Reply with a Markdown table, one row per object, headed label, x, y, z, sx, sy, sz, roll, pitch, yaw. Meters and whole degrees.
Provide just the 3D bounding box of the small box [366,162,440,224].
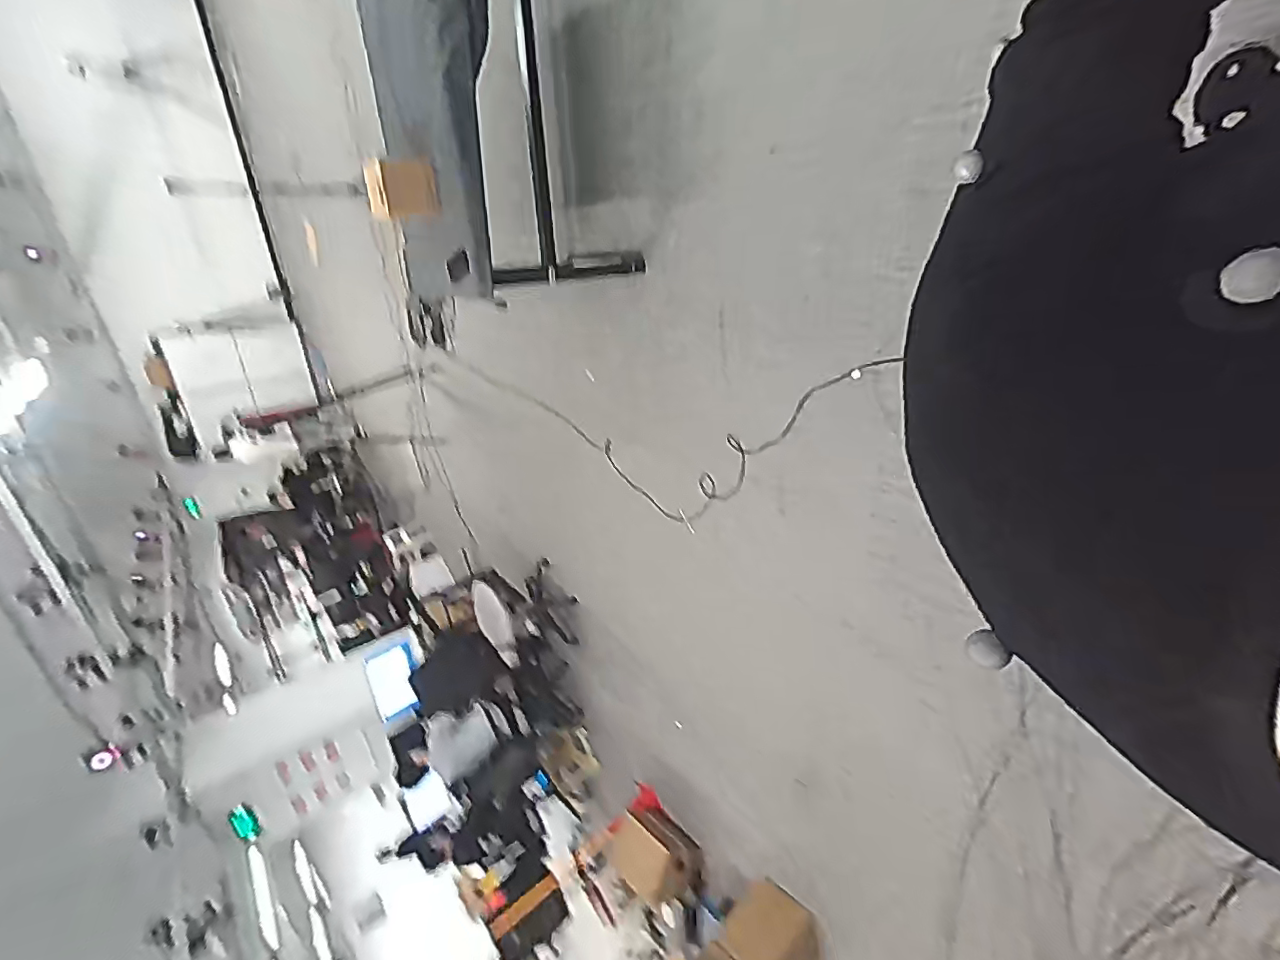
| label | x | y | z | sx | sy | sz | roll | pitch | yaw |
| --- | --- | --- | --- | --- | --- | --- | --- | --- | --- |
| small box | -0.771 | -0.939 | 1.773 | 0.179 | 0.176 | 0.168 | 24 | 125 | 47 |
